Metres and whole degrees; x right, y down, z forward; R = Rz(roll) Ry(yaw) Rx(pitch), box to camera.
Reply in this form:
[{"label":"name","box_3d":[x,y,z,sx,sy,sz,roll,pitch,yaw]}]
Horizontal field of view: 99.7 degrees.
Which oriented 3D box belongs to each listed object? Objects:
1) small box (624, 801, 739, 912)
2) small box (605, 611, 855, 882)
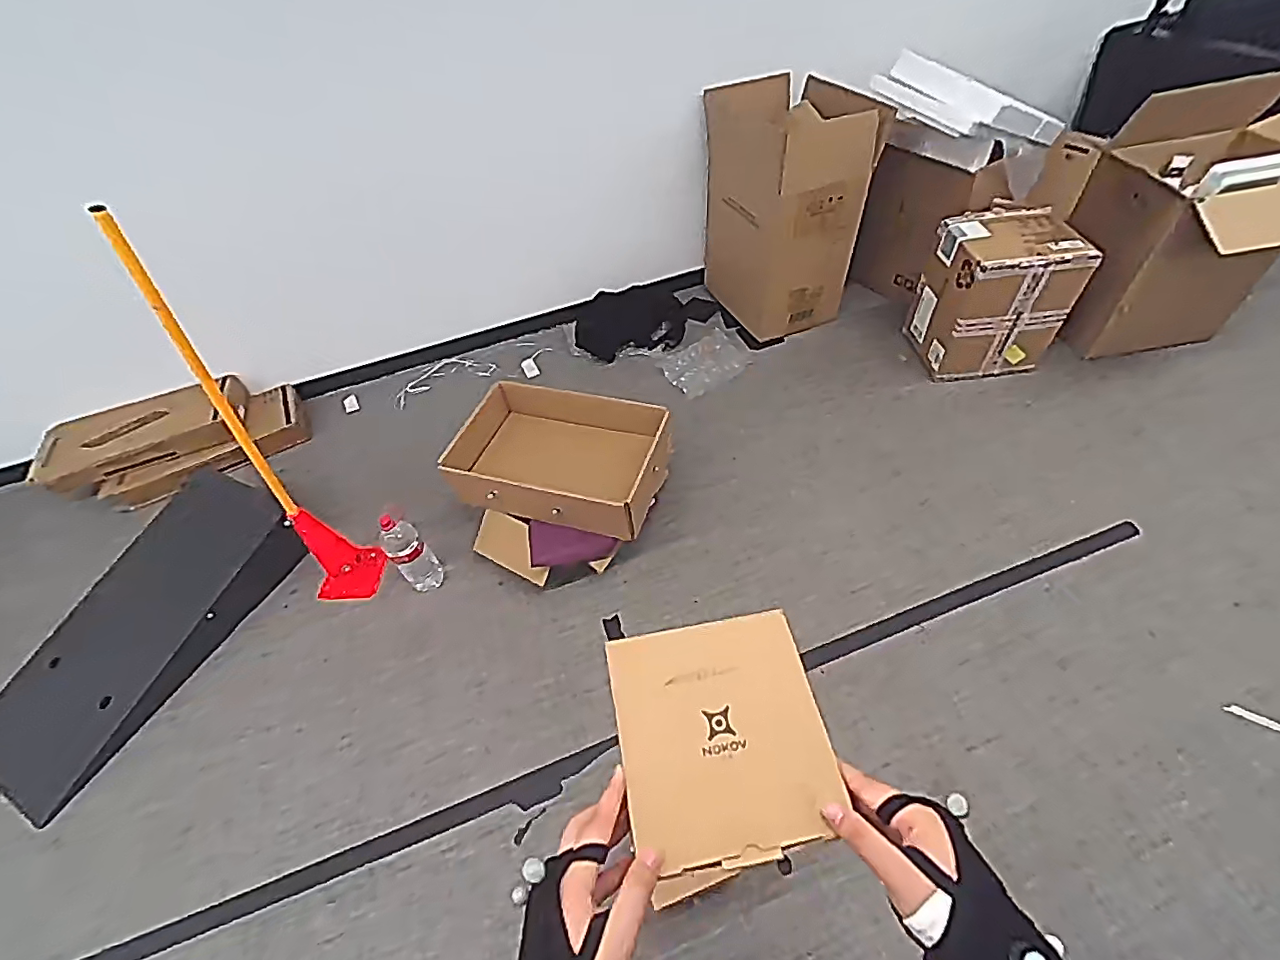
[{"label":"small box","box_3d":[0.077,0.701,1.044,0.168,0.176,0.179,-18,51,-8]},{"label":"small box","box_3d":[0.066,0.247,0.500,0.168,0.176,0.179,-9,54,-6]}]
